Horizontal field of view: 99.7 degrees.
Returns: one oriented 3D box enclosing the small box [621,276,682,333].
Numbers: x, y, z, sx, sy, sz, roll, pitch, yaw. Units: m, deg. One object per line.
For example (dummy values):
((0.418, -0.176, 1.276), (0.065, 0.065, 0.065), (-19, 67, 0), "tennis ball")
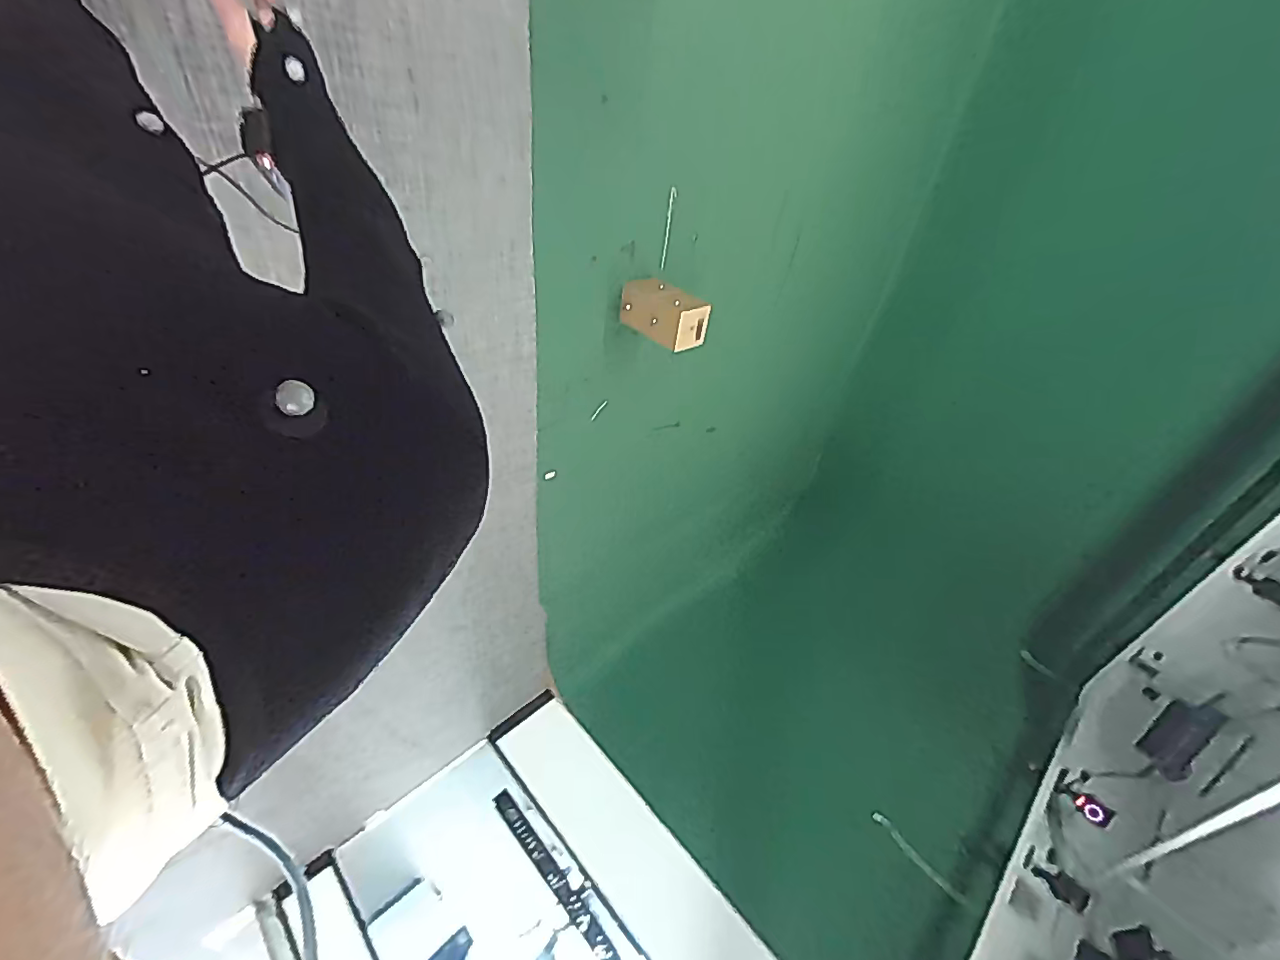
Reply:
((0.045, -0.735, 2.249), (0.179, 0.176, 0.168), (-25, 139, -37), "small box")
